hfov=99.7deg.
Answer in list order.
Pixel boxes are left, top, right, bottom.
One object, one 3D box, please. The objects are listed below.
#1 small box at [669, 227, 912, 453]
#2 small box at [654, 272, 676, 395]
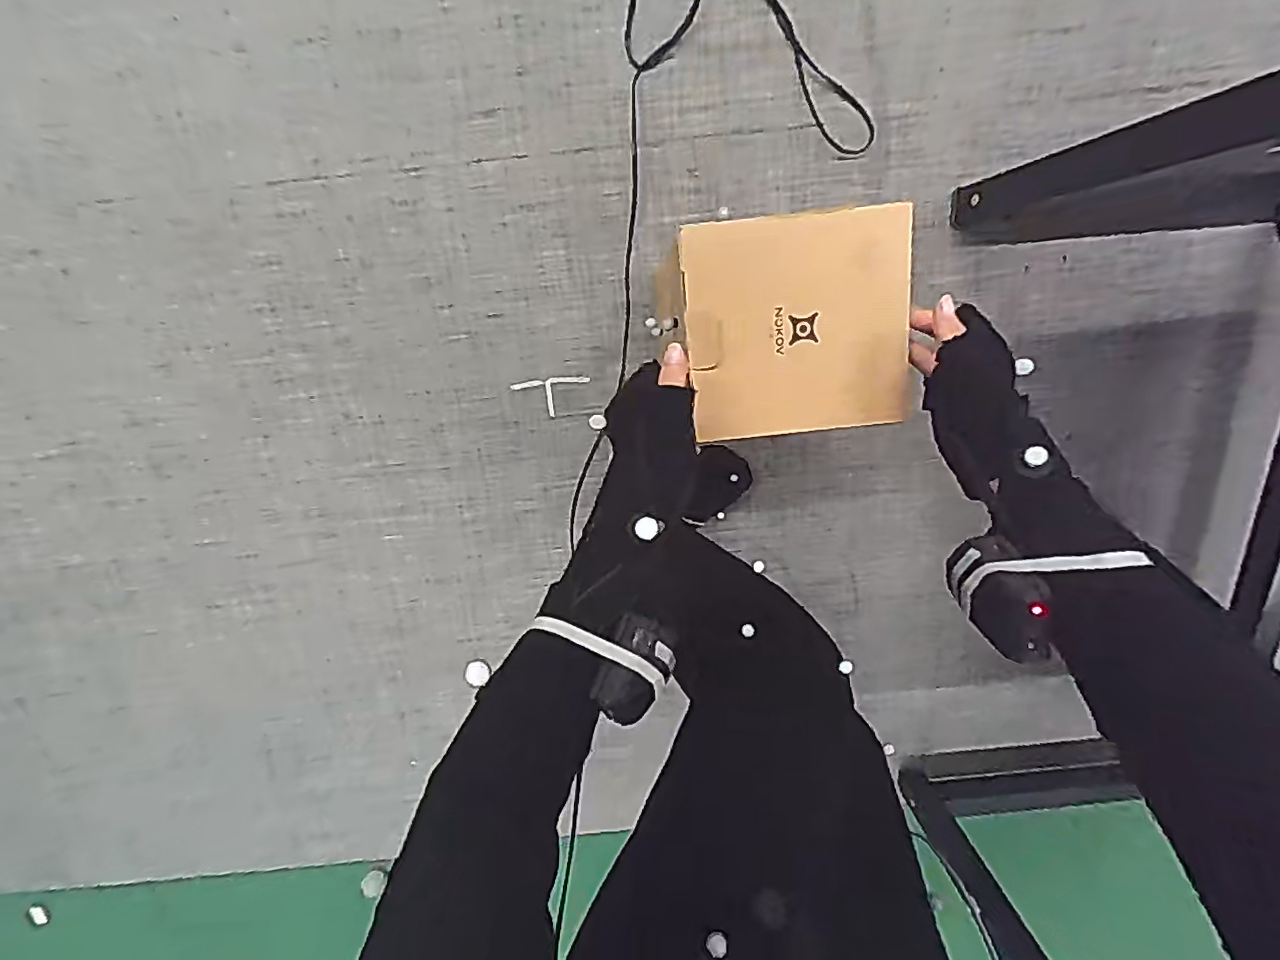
[{"bbox_3d":[0.123,-0.130,0.504,0.179,0.176,0.168,-5,106,2],"label":"small box"},{"bbox_3d":[0.115,-0.224,0.818,0.179,0.176,0.168,-2,106,0],"label":"small box"}]
